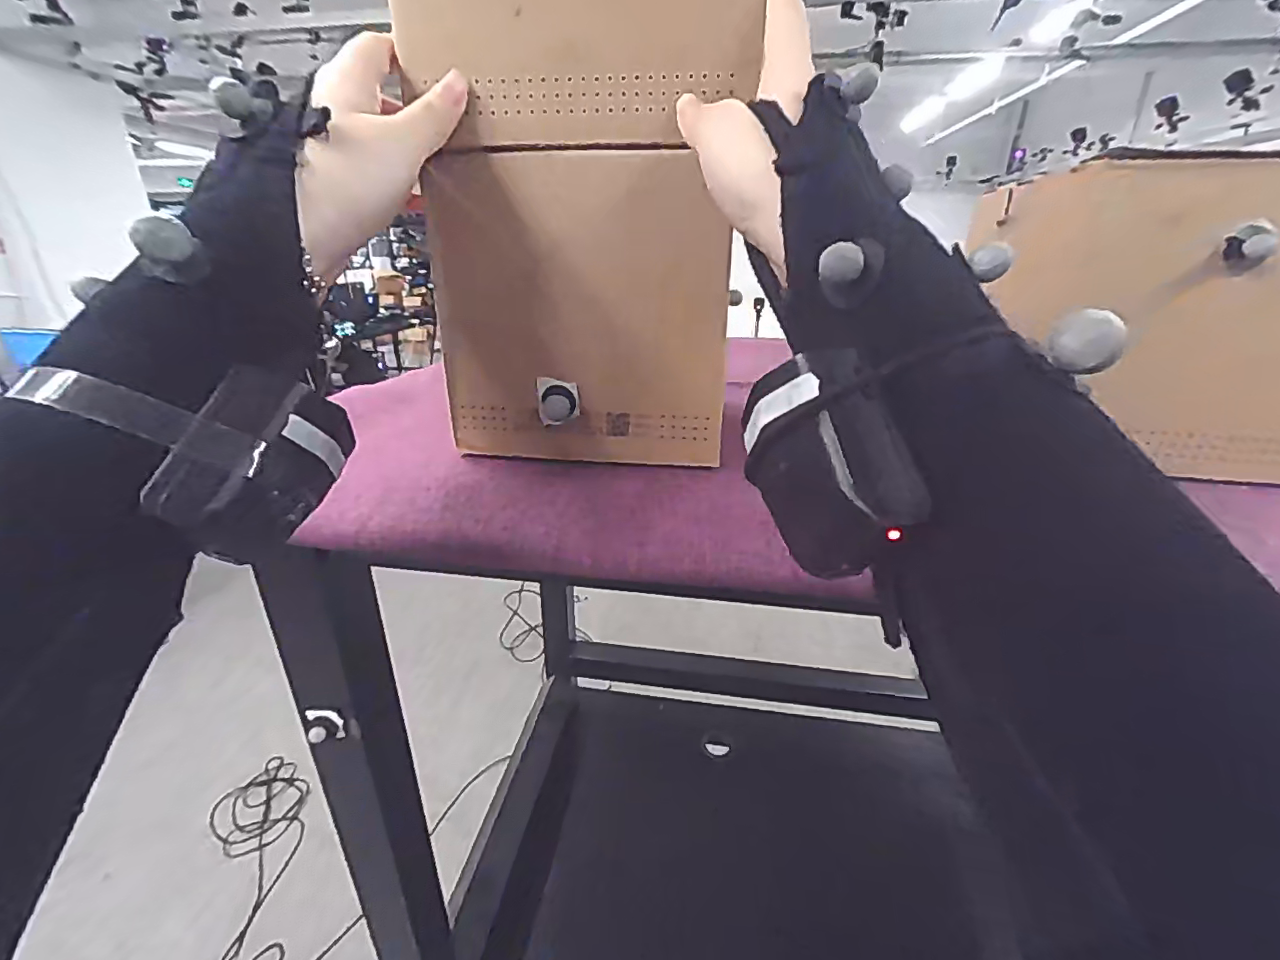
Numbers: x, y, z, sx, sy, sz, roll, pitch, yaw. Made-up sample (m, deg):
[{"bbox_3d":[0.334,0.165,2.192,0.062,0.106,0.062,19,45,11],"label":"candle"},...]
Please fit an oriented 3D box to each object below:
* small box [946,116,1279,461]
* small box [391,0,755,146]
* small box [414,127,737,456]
[{"bbox_3d":[0.323,-0.117,0.352,0.179,0.176,0.168,5,22,9],"label":"small box"},{"bbox_3d":[-0.030,-0.276,0.305,0.179,0.176,0.168,0,23,2],"label":"small box"},{"bbox_3d":[-0.027,-0.124,0.370,0.168,0.176,0.179,1,23,5],"label":"small box"}]
